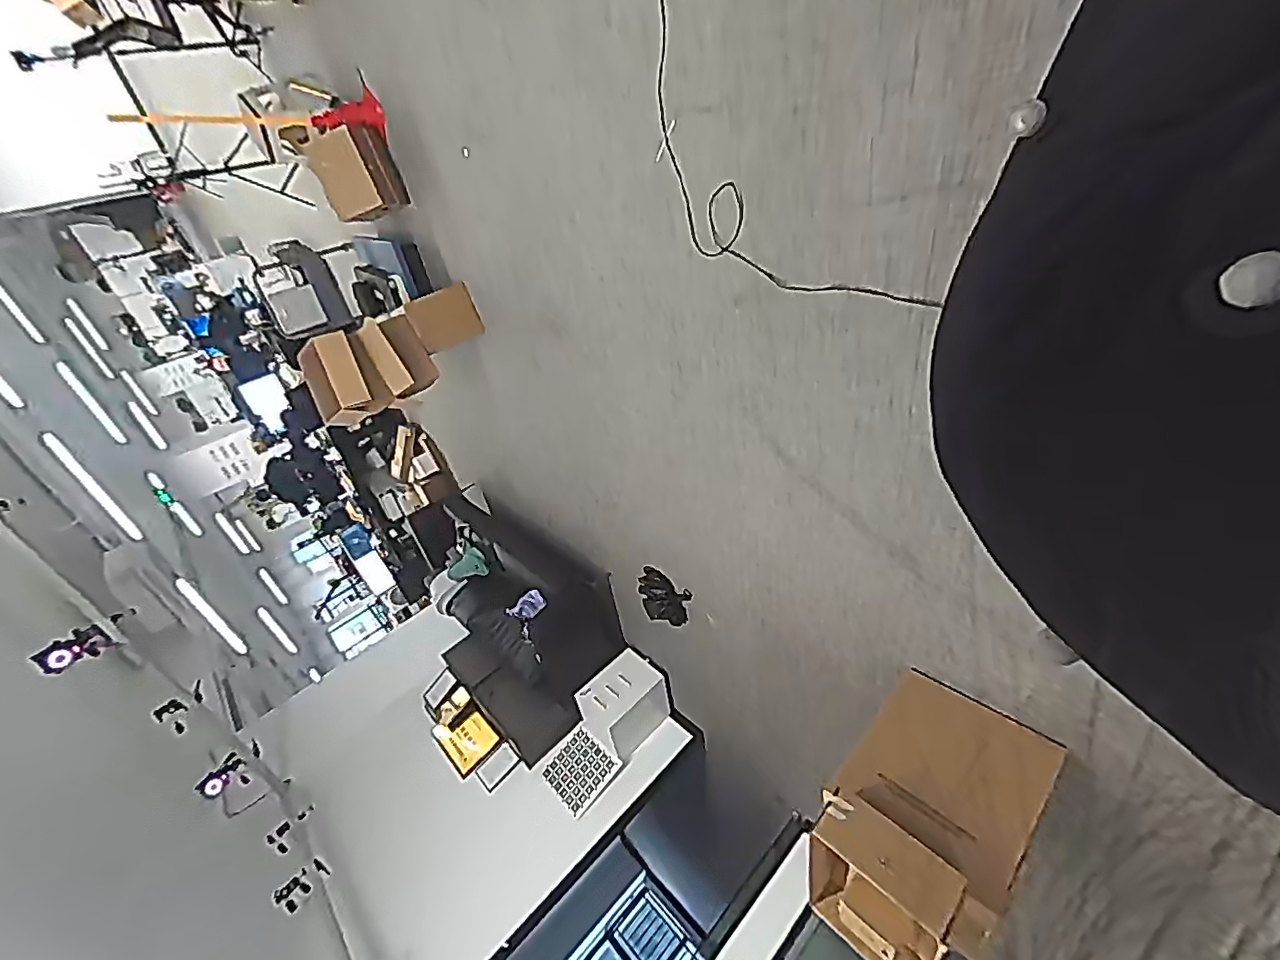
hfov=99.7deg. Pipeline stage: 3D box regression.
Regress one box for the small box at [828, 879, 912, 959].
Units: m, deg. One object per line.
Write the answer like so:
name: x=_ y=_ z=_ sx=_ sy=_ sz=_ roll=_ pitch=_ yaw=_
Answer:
small box: x=0.697 y=1.367 z=1.648 sx=0.179 sy=0.176 sz=0.168 roll=26 pitch=139 yaw=44
